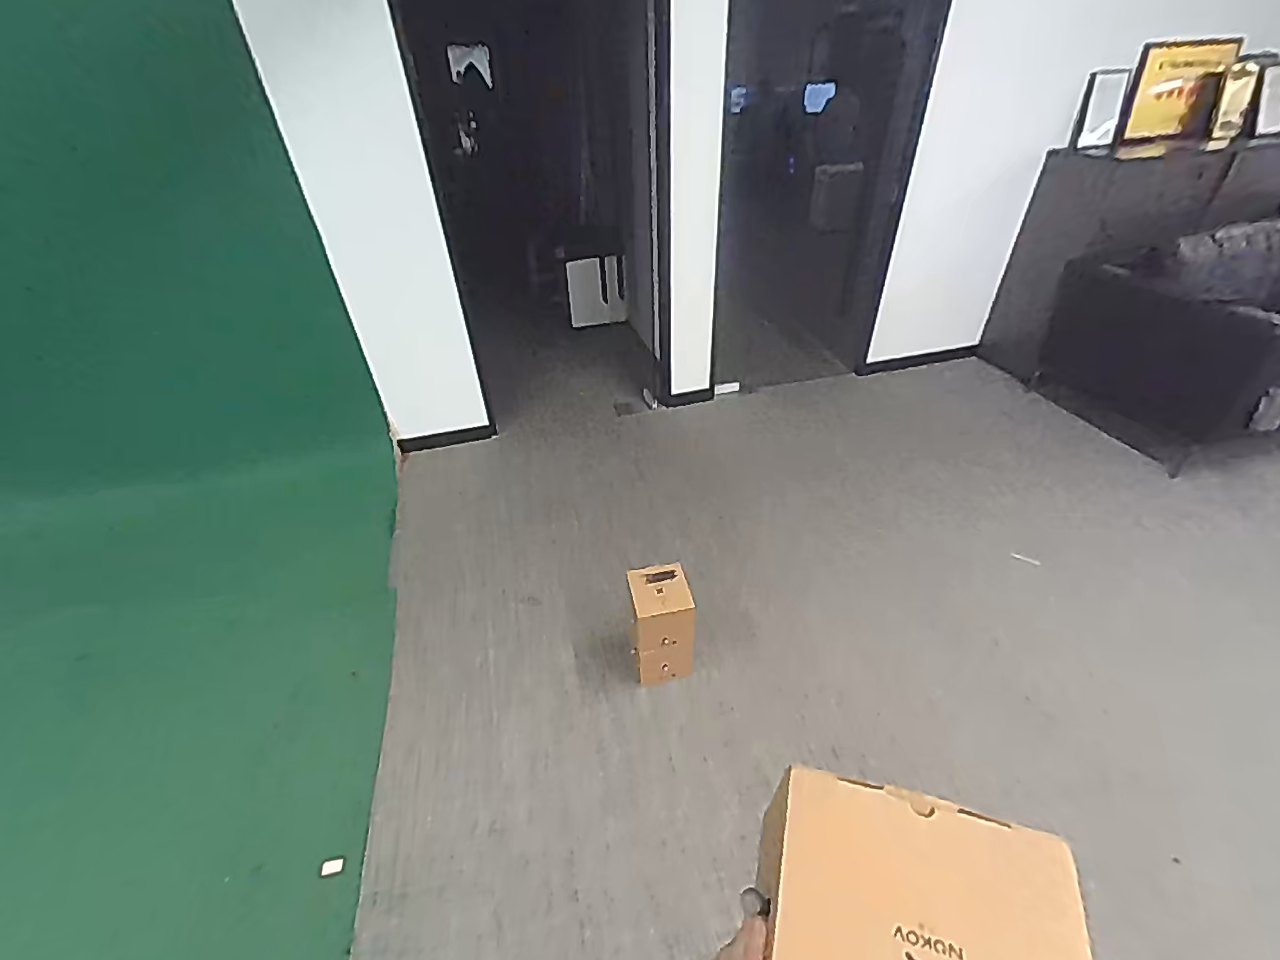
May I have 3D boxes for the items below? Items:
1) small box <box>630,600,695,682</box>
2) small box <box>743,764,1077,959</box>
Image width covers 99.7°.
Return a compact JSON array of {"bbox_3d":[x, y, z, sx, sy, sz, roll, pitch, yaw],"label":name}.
[{"bbox_3d":[0.070,0.511,1.694,0.168,0.176,0.179,-10,39,-9],"label":"small box"},{"bbox_3d":[0.159,0.323,0.355,0.168,0.176,0.179,9,49,14],"label":"small box"}]
